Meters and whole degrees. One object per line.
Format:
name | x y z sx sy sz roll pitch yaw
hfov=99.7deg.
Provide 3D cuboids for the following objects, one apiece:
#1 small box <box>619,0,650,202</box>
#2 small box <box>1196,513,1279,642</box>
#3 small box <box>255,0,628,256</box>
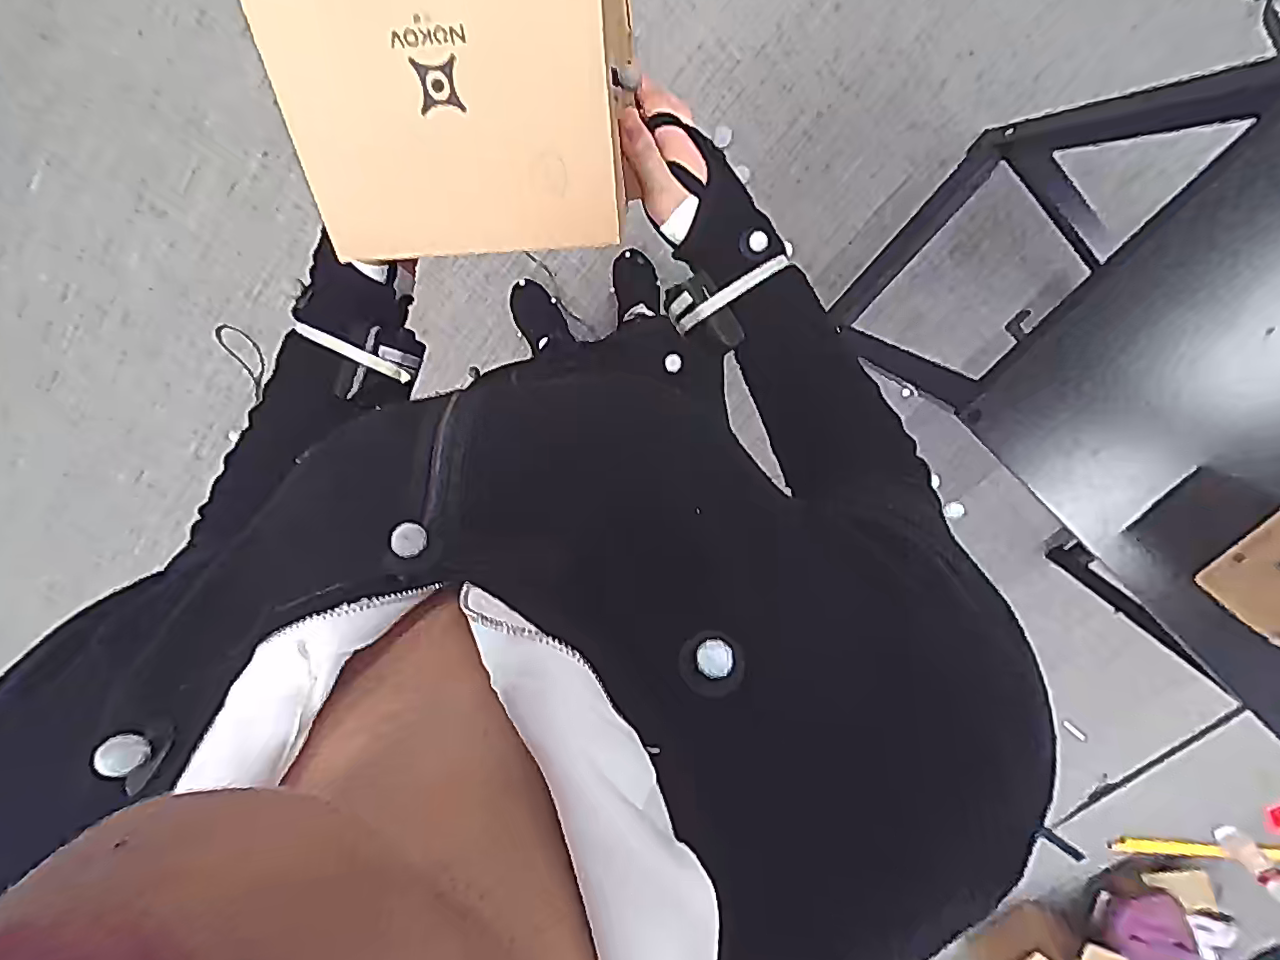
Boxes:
small box | -0.087 -0.337 0.470 0.179 0.176 0.168 -5 124 5
small box | 1.024 0.169 0.817 0.179 0.176 0.168 32 108 -15
small box | -0.095 -0.250 0.329 0.168 0.176 0.179 -3 125 2
